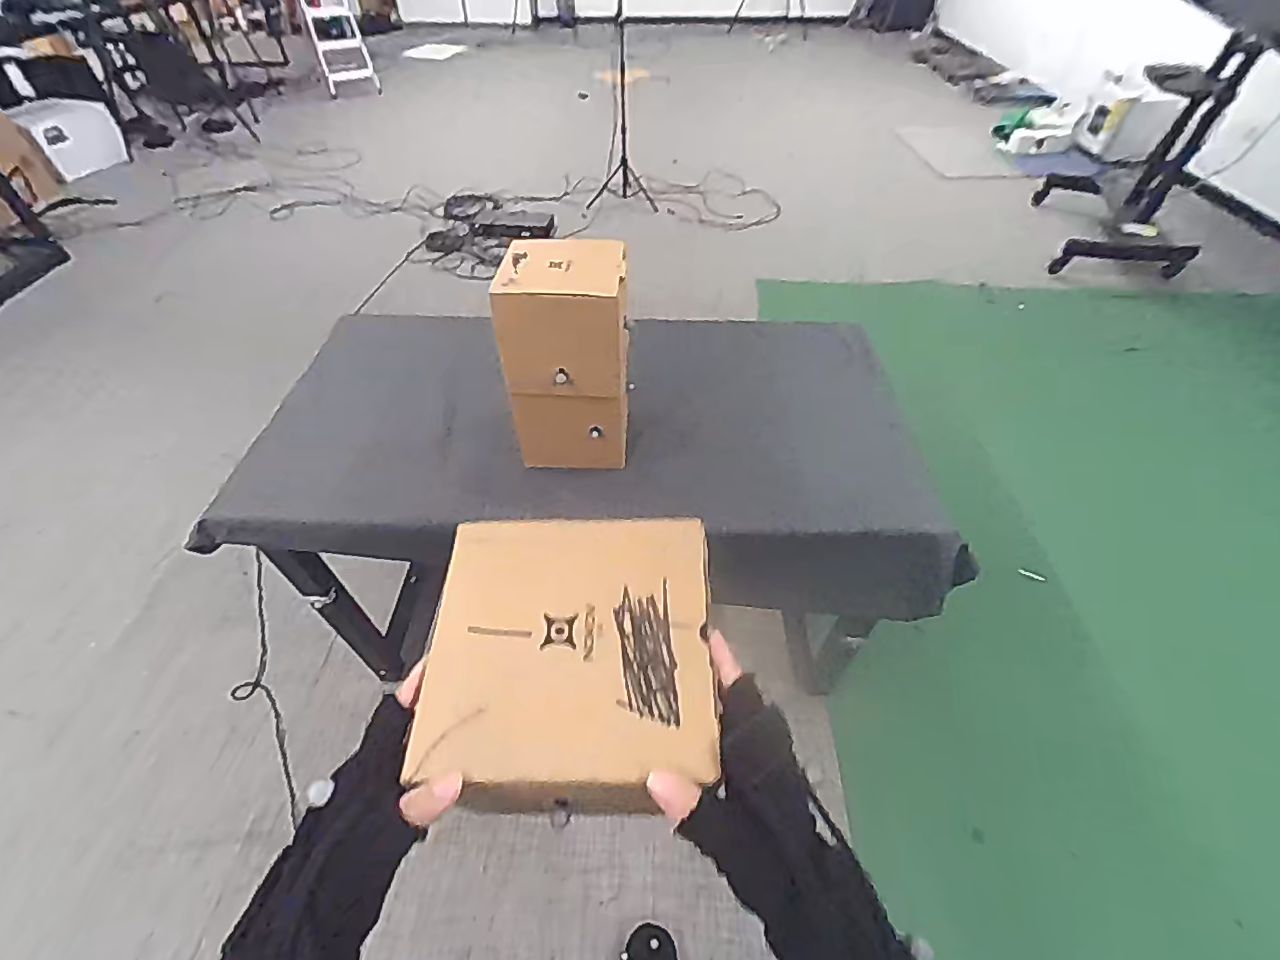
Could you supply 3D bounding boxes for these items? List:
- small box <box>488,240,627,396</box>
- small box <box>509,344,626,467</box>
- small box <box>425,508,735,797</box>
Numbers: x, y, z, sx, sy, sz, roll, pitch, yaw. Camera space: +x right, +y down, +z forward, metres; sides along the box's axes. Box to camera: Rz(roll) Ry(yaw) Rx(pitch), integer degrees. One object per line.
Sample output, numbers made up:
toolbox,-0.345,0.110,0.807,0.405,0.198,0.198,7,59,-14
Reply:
small box,-0.113,-0.244,0.827,0.179,0.176,0.168,3,47,1
small box,-0.115,-0.136,0.950,0.179,0.176,0.168,0,47,1
small box,-0.040,0.135,0.412,0.179,0.176,0.168,-2,54,-4
